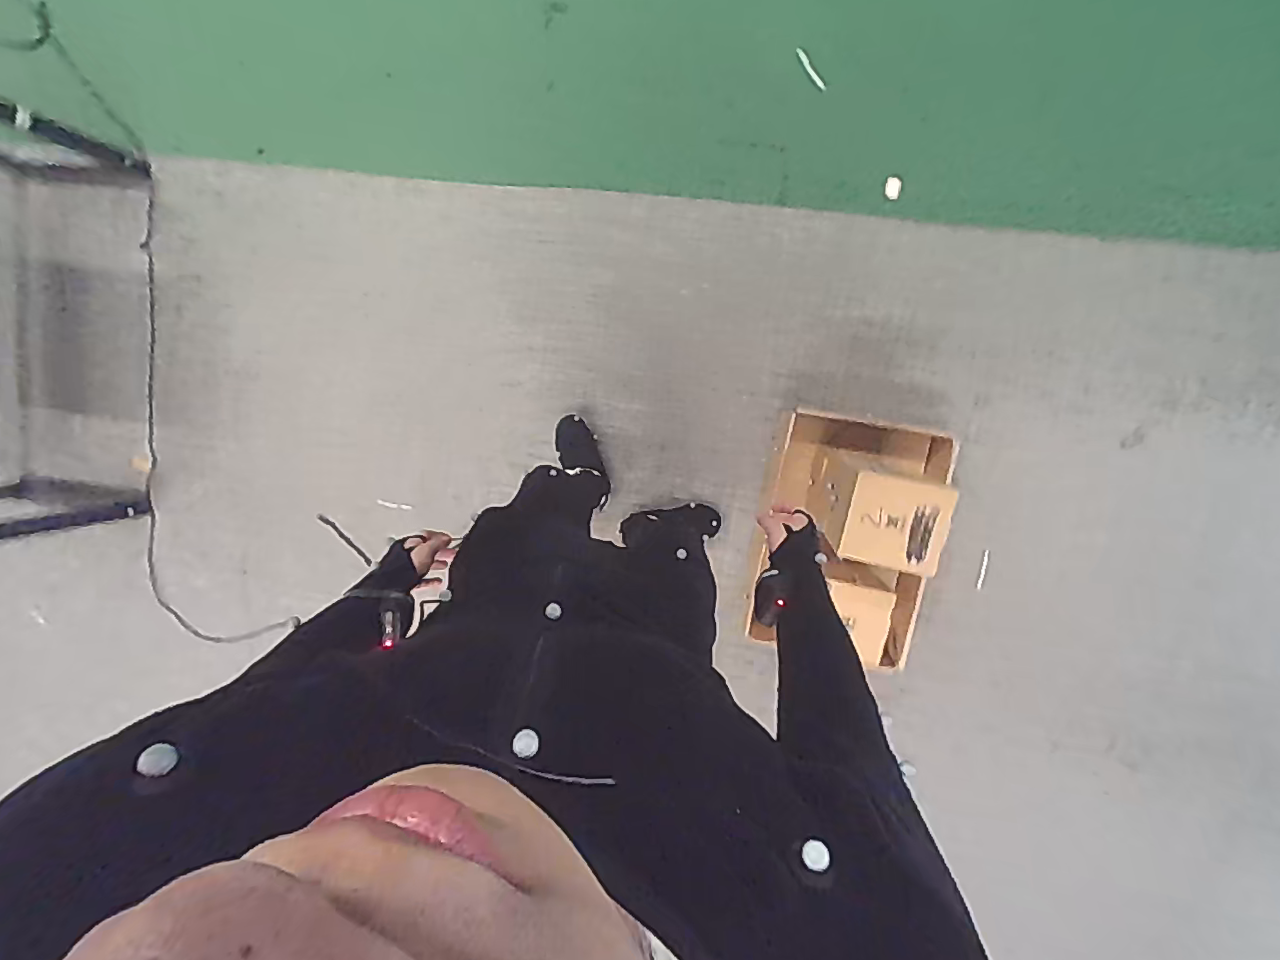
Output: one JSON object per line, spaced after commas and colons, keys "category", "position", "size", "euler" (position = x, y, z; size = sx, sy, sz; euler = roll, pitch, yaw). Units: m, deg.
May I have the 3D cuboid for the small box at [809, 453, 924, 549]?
{"category": "small box", "position": [0.503, 0.038, 1.229], "size": [0.179, 0.176, 0.168], "euler": [15, 99, 6]}

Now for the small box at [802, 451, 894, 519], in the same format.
{"category": "small box", "position": [0.526, 0.021, 1.391], "size": [0.179, 0.176, 0.168], "euler": [9, 100, 8]}

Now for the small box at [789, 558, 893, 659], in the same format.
{"category": "small box", "position": [0.462, 0.292, 1.269], "size": [0.179, 0.176, 0.168], "euler": [12, 97, 8]}

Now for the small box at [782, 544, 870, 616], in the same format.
{"category": "small box", "position": [0.482, 0.275, 1.431], "size": [0.179, 0.176, 0.168], "euler": [10, 98, 8]}
